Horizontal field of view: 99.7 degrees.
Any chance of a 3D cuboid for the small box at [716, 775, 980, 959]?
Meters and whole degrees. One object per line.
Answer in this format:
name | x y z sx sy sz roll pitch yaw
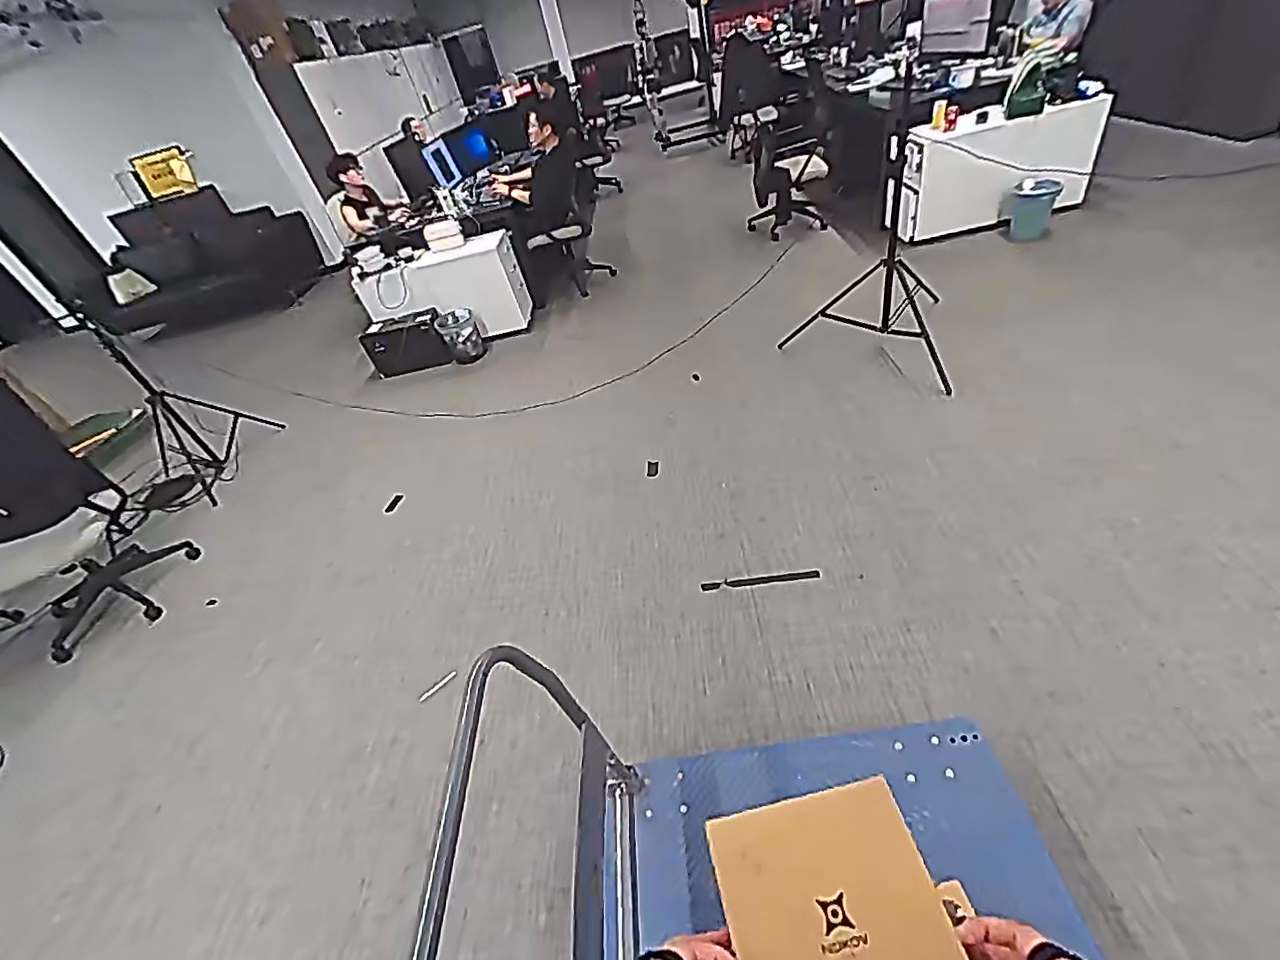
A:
small box | 0.167 0.388 0.467 0.168 0.176 0.179 -13 46 -1
